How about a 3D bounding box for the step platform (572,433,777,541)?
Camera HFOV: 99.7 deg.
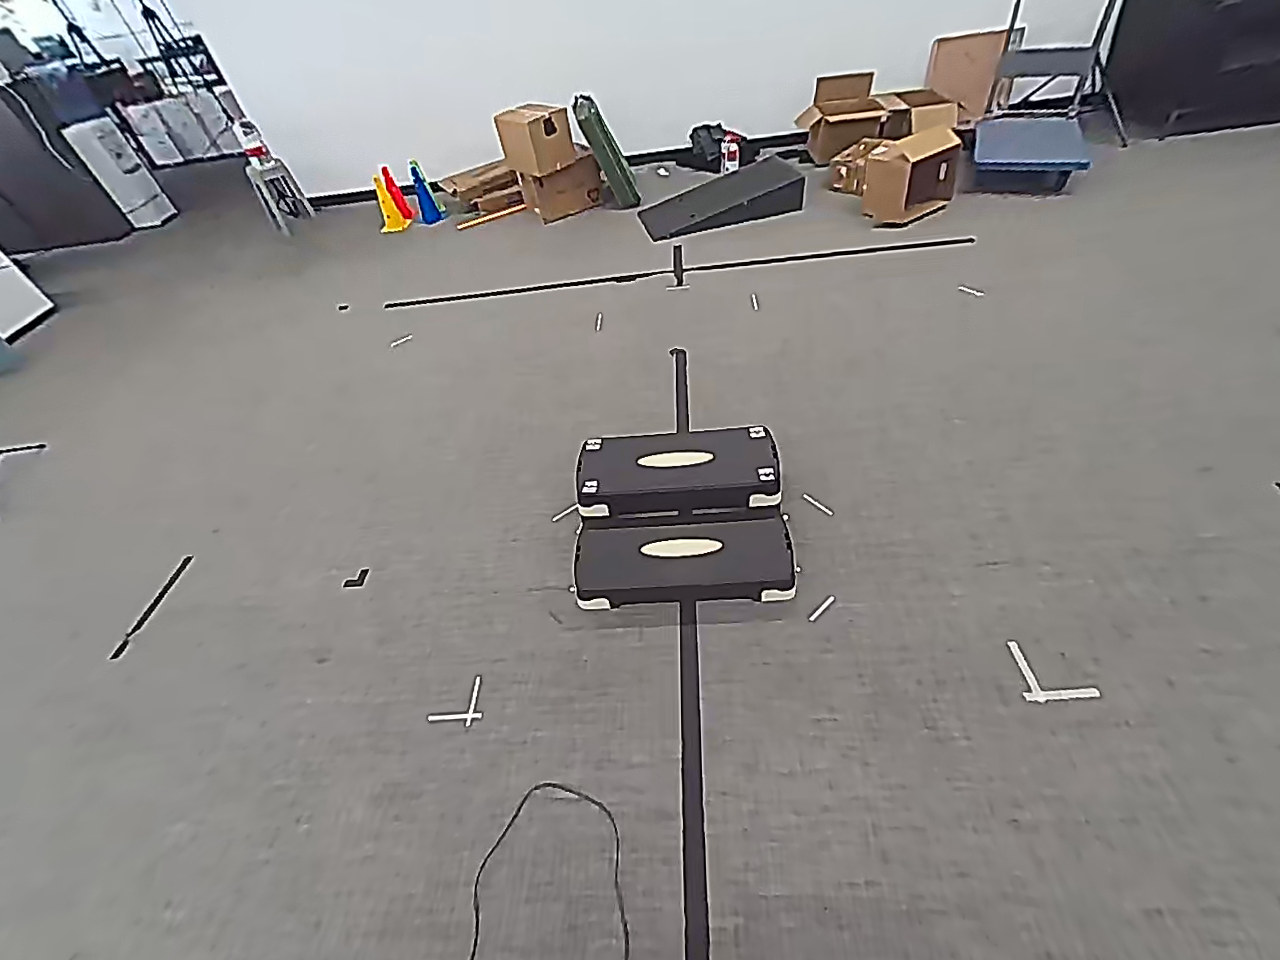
[{"bbox_3d":[0.113,0.018,1.834,0.684,0.204,0.286,-4,47,5],"label":"step platform"}]
